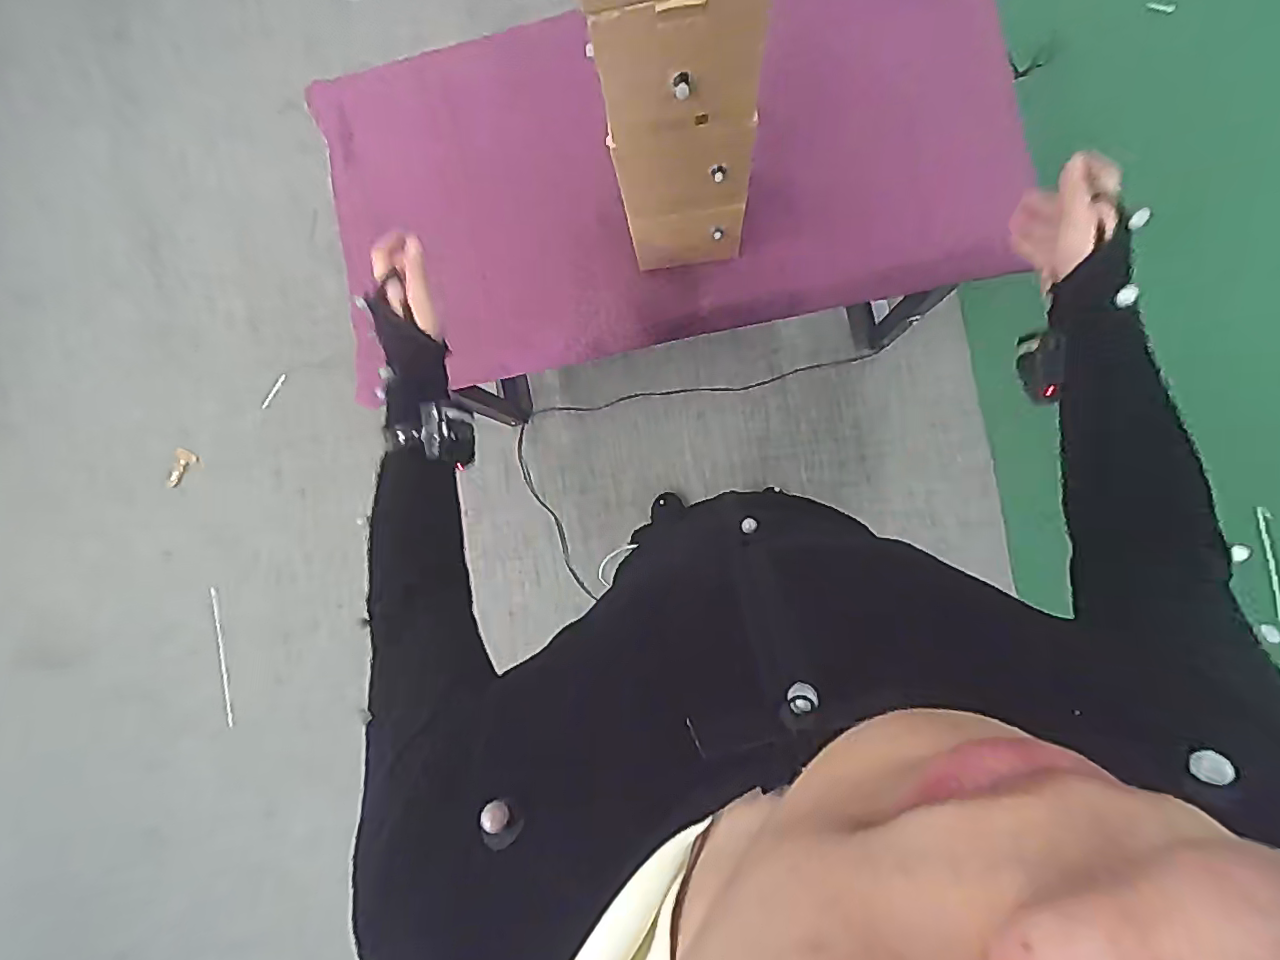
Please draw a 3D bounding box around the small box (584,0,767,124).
[{"bbox_3d":[0.035,-0.496,0.547,0.168,0.176,0.179,-6,87,6],"label":"small box"}]

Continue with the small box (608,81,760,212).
[{"bbox_3d":[0.054,-0.481,0.707,0.179,0.176,0.168,-5,86,7],"label":"small box"}]
